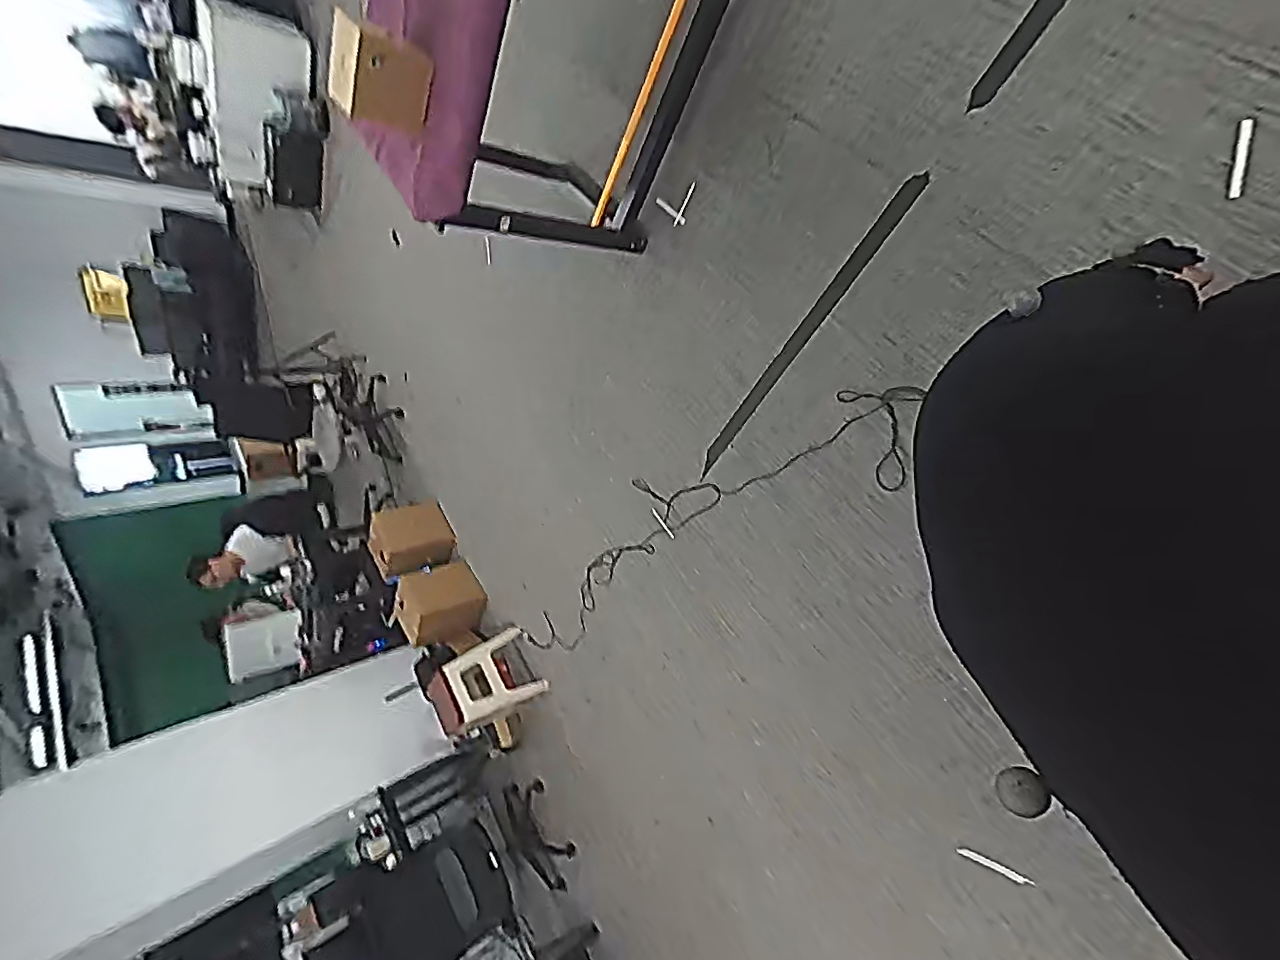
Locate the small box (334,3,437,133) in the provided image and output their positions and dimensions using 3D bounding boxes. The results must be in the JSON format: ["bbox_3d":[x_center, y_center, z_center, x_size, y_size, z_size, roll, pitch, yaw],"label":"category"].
[{"bbox_3d":[-0.606,-0.974,1.290,0.168,0.176,0.179,51,130,27],"label":"small box"}]
